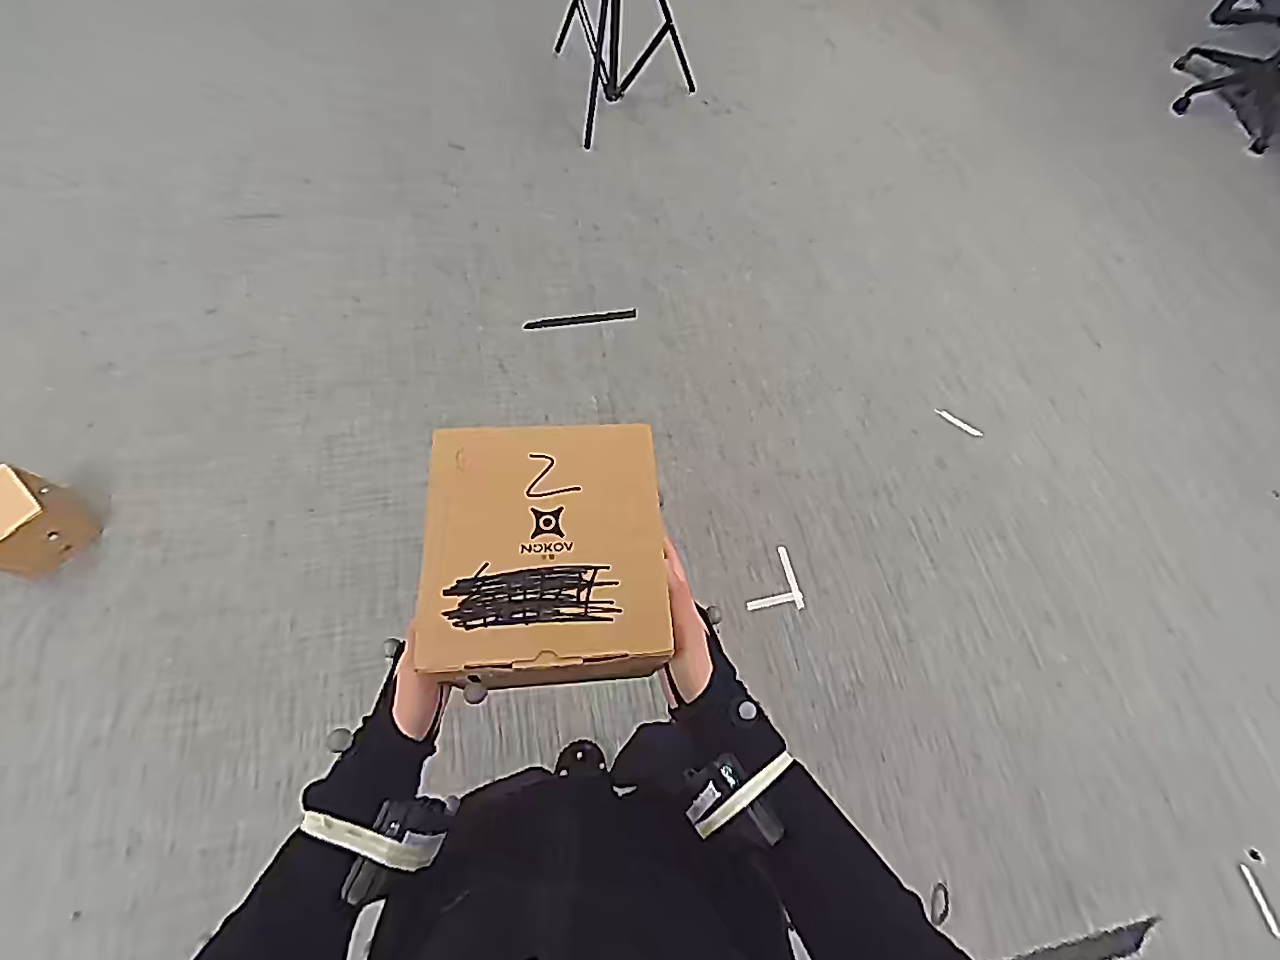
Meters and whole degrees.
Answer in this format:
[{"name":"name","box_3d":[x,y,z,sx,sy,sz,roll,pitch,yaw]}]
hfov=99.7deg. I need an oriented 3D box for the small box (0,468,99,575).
[{"name":"small box","box_3d":[-1.470,0.108,1.287,0.179,0.176,0.168,40,68,13]}]
